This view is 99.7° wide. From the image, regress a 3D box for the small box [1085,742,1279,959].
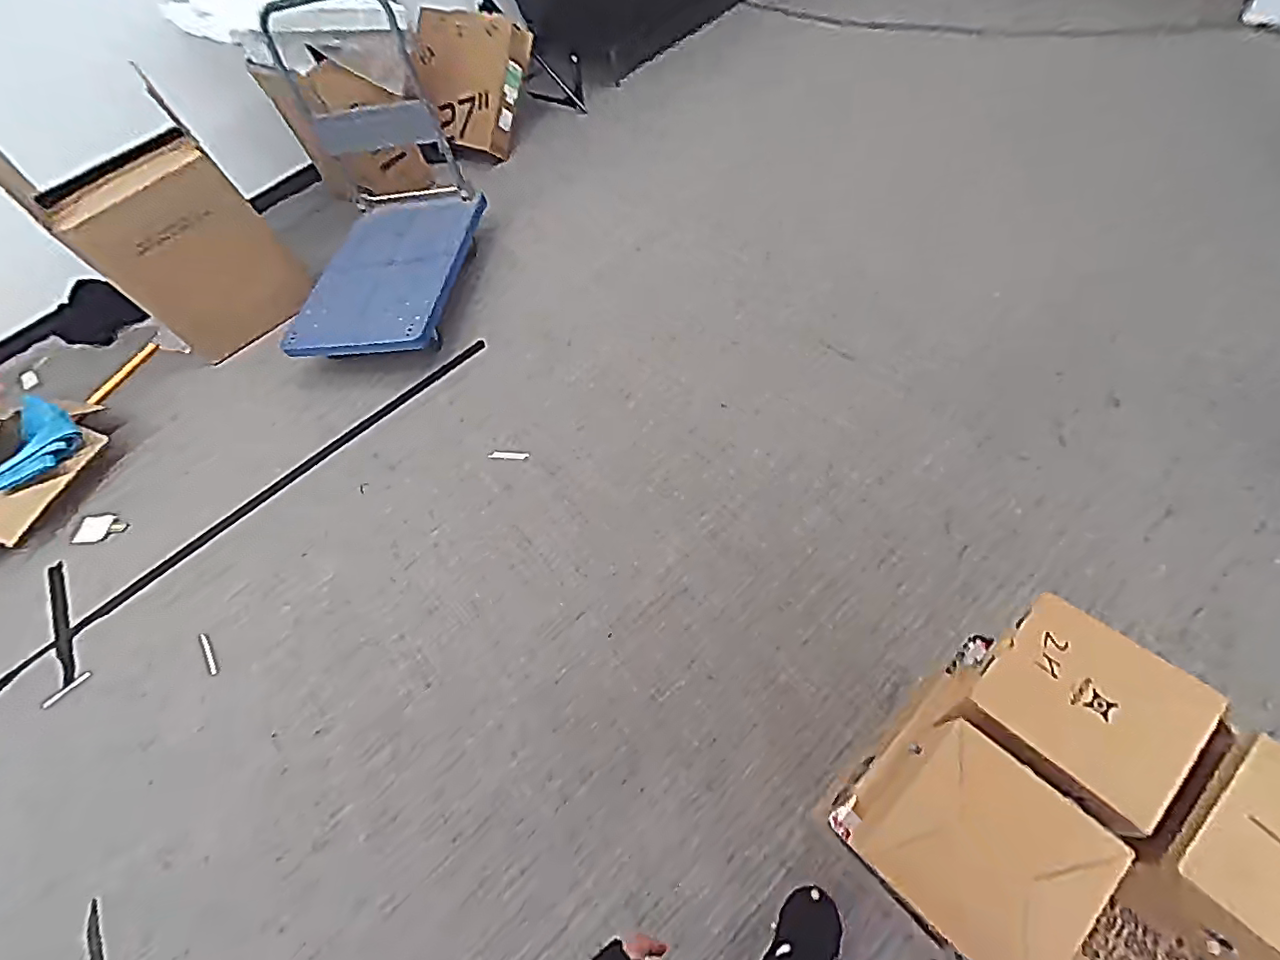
[{"bbox_3d":[0.602,0.388,0.526,0.168,0.176,0.179,-42,59,-12],"label":"small box"}]
